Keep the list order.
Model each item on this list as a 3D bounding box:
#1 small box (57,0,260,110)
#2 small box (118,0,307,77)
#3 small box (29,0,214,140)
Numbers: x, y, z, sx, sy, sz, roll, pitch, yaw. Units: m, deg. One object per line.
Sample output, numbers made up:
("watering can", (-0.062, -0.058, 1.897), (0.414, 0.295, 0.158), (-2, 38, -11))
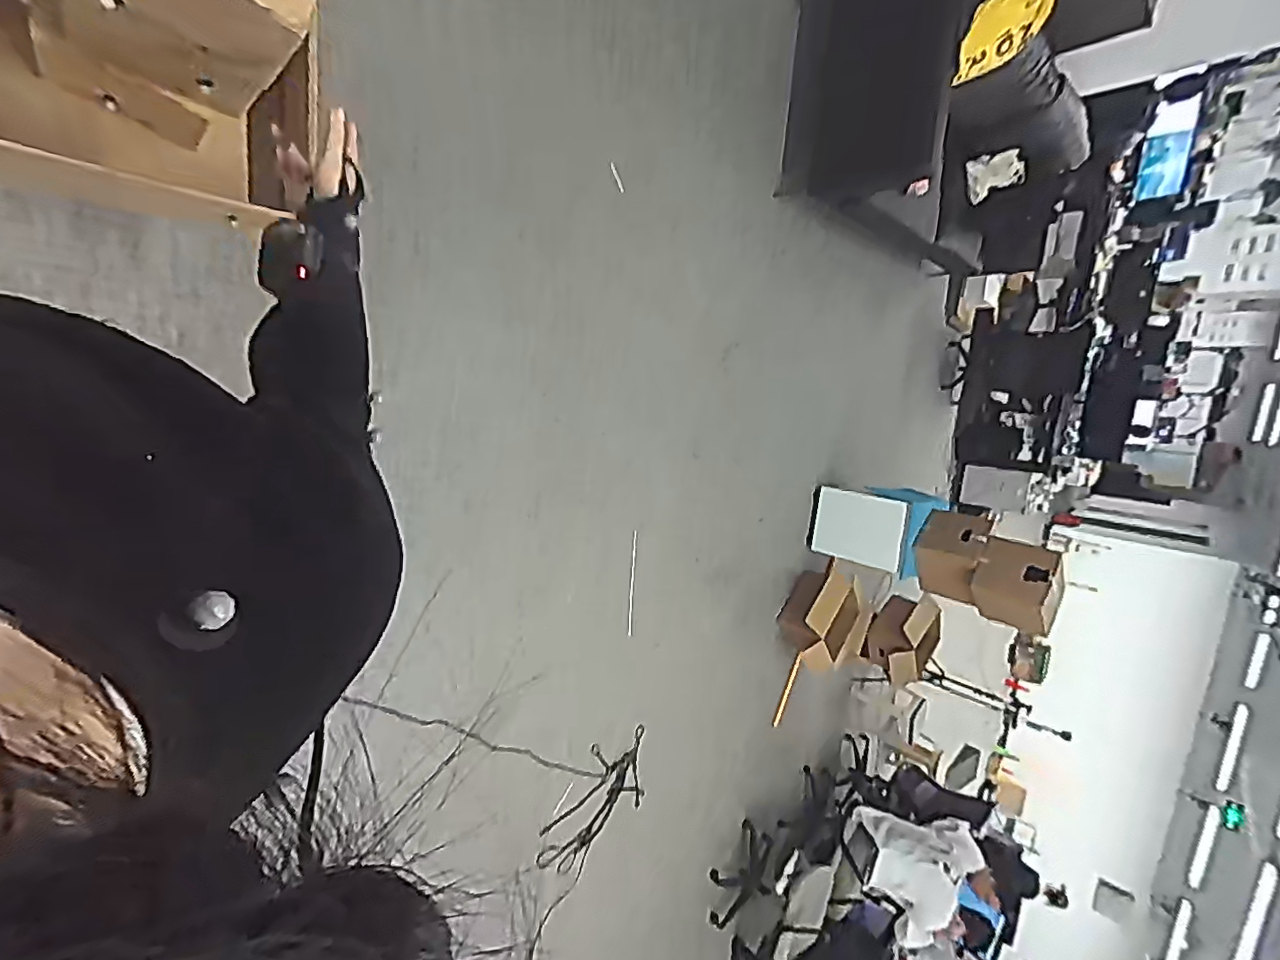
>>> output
("small box", (-0.526, -0.559, 0.605), (0.168, 0.176, 0.179), (5, 98, -47))
("small box", (-0.408, -0.524, 0.497), (0.168, 0.176, 0.179), (9, 94, -47))
("small box", (-0.654, -0.588, 0.704), (0.168, 0.176, 0.179), (12, 93, -46))
